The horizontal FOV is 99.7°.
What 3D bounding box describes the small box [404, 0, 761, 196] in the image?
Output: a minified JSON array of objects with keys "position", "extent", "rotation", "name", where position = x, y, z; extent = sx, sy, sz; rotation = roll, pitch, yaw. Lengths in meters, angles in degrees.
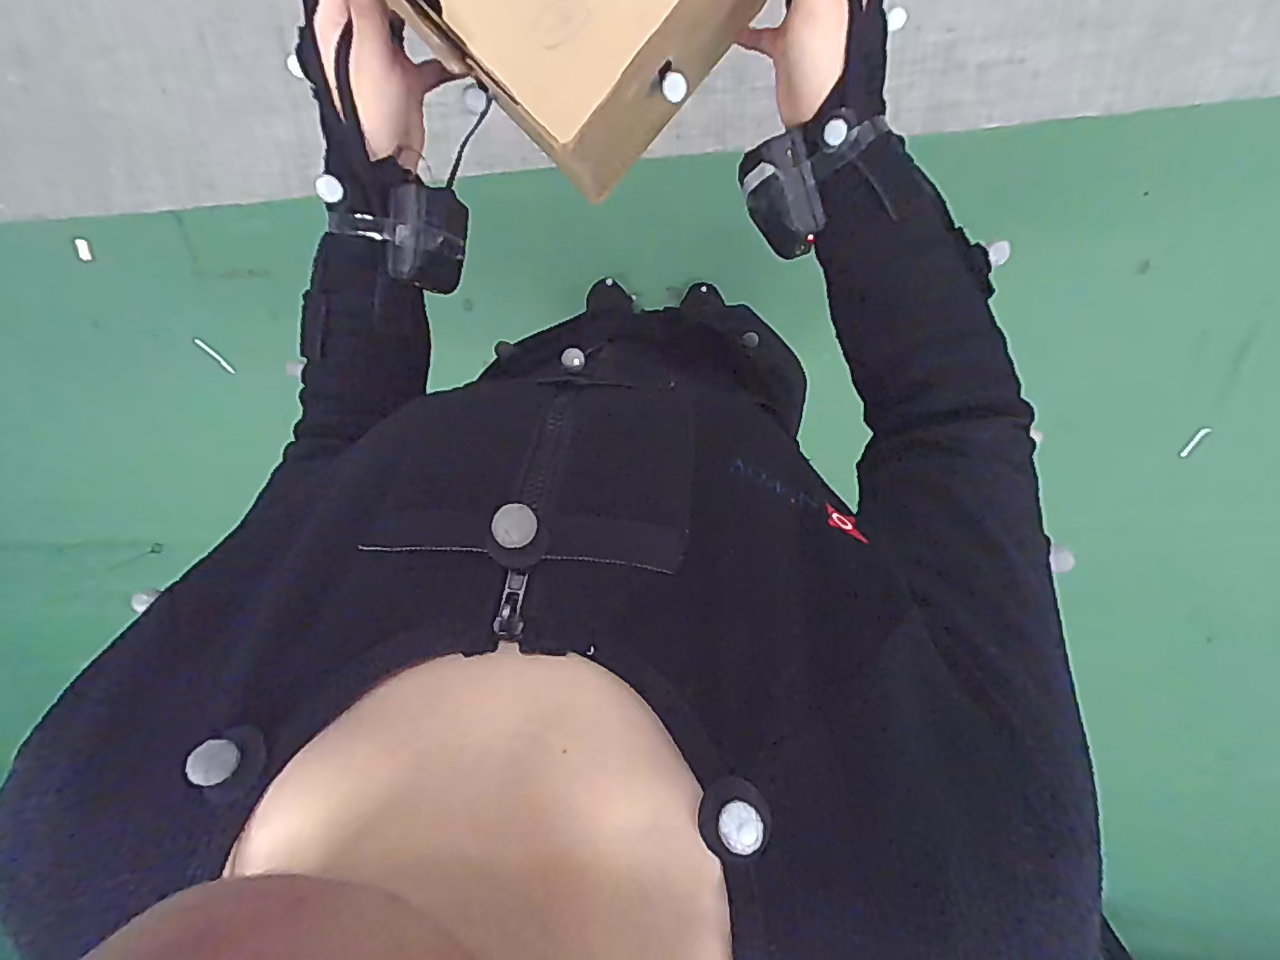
[{"position":[-0.031,-0.297,0.307],"extent":[0.168,0.176,0.179],"rotation":[42,106,-11],"name":"small box"}]
